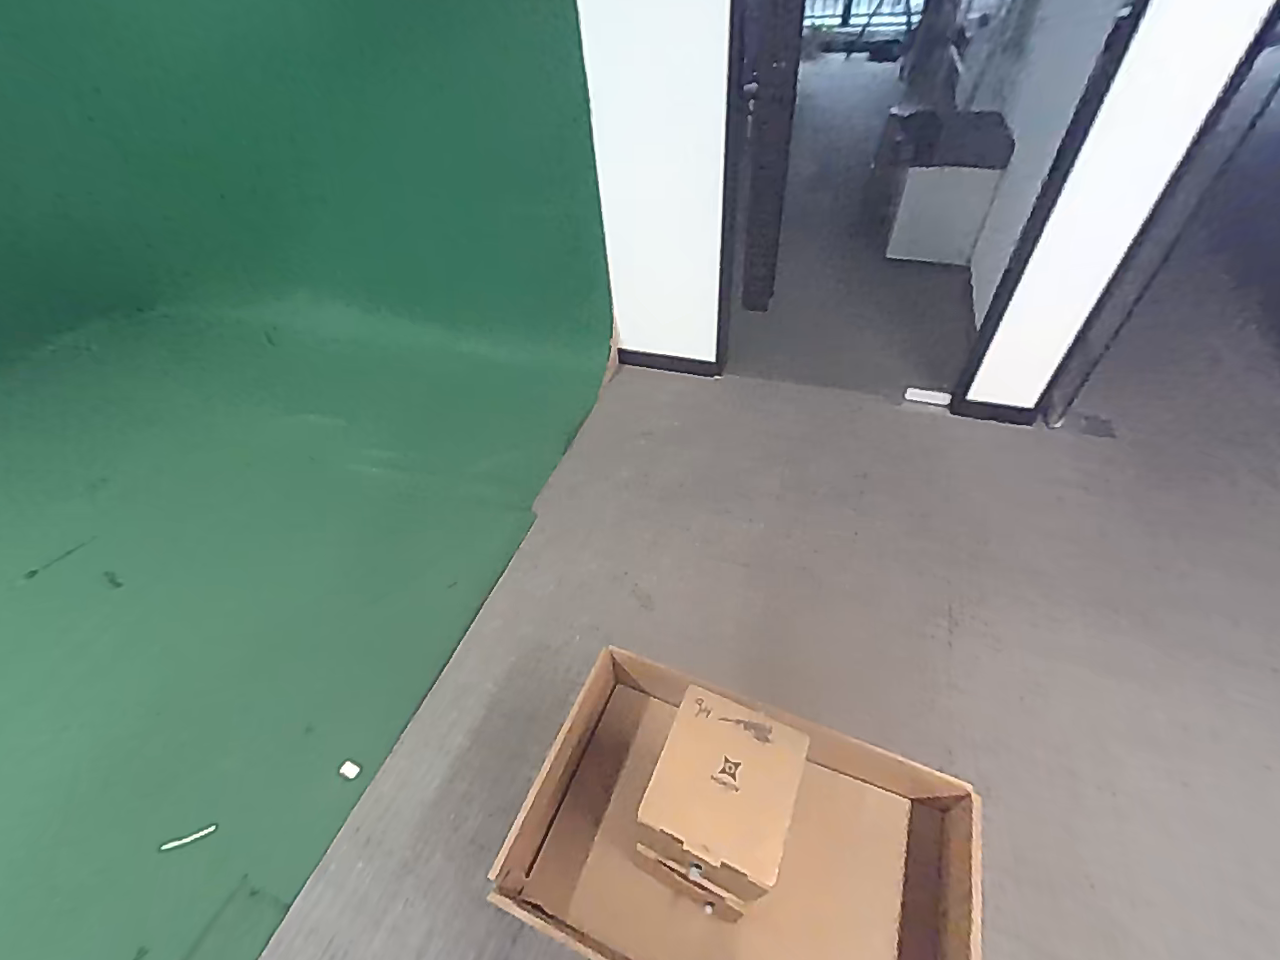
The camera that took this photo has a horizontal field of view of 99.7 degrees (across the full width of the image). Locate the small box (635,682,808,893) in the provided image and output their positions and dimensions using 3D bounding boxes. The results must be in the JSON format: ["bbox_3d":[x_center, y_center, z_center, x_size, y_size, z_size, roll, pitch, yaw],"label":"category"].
[{"bbox_3d":[0.106,0.408,0.713,0.168,0.176,0.179,19,52,17],"label":"small box"}]

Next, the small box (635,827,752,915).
[{"bbox_3d":[0.104,0.525,0.828,0.168,0.176,0.179,19,49,17],"label":"small box"}]
